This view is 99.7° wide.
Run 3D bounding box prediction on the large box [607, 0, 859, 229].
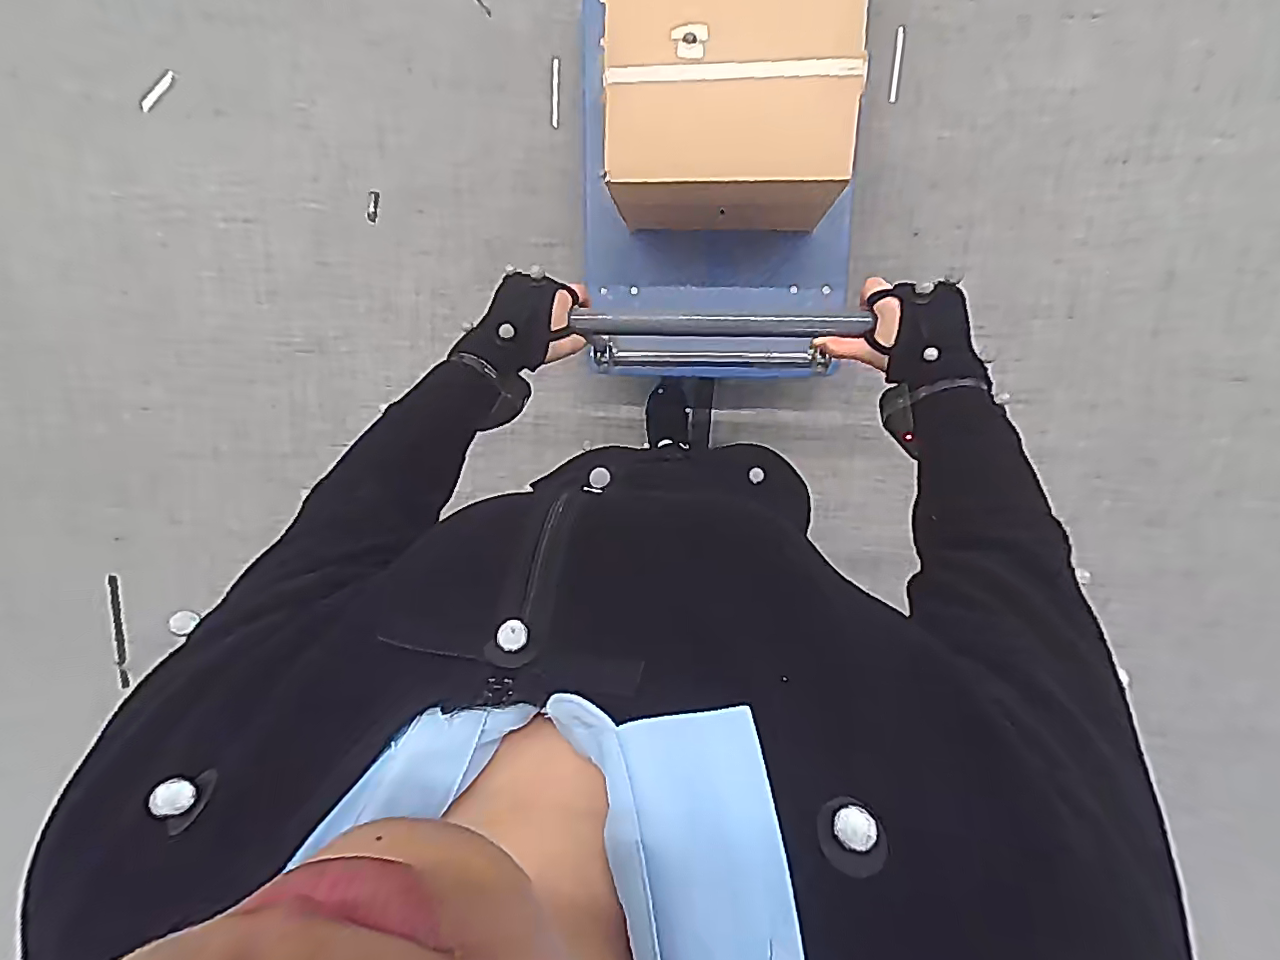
[{"bbox_3d":[0.162,-0.678,1.025,0.408,0.320,0.320,3,100,7],"label":"large box"}]
